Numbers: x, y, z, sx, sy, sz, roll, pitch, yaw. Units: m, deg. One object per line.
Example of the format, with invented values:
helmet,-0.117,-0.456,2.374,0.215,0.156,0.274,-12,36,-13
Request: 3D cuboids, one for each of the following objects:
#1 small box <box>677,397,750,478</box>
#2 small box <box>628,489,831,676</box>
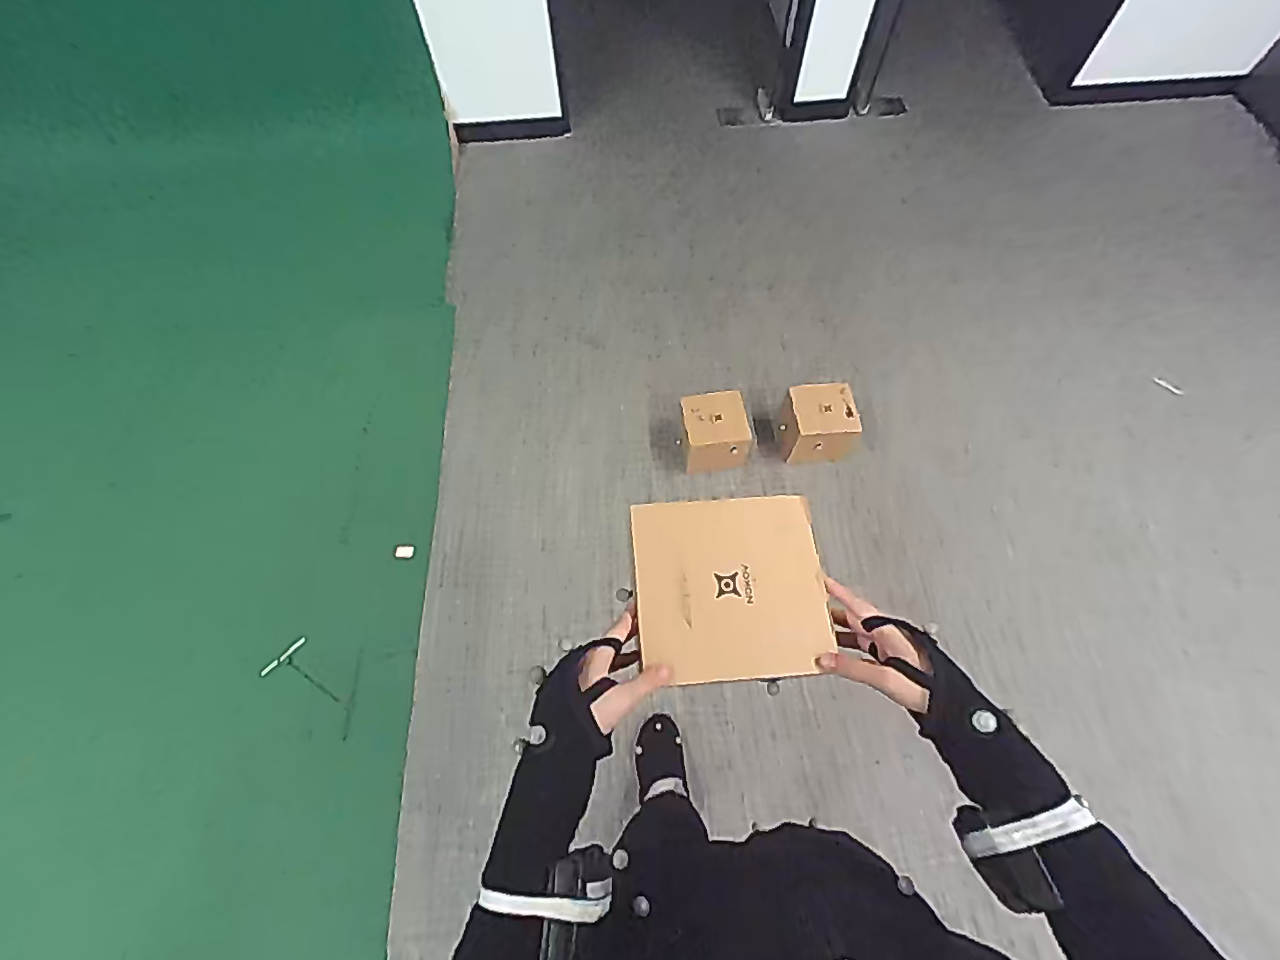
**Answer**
small box,0.208,-0.122,1.581,0.179,0.176,0.168,-8,63,-2
small box,0.078,0.117,0.581,0.179,0.176,0.168,-3,67,-2
